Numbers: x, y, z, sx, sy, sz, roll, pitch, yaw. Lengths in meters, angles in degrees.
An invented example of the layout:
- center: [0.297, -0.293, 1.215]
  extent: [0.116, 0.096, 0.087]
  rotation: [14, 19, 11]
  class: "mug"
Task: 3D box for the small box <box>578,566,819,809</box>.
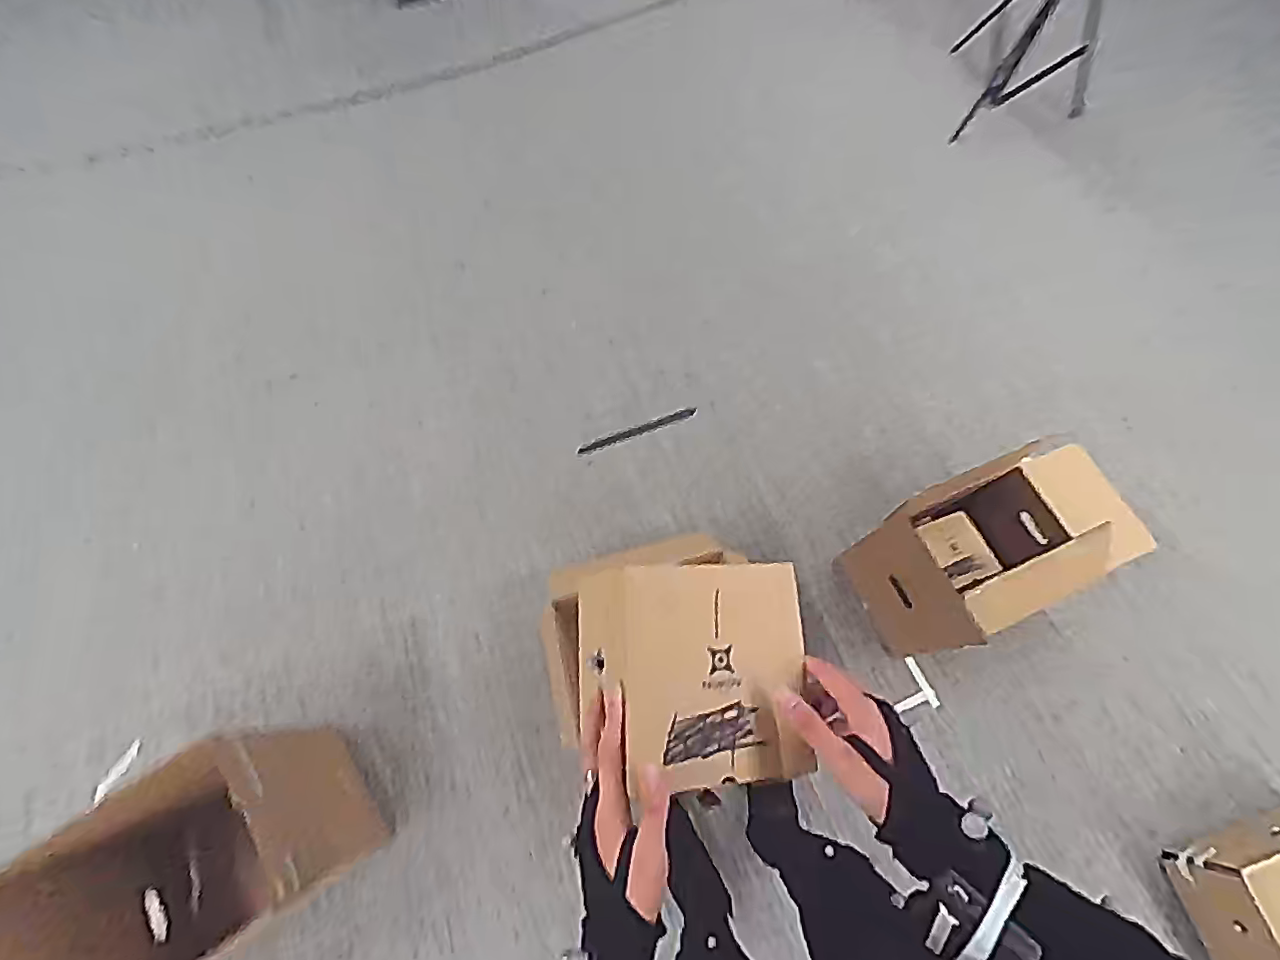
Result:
- center: [0.040, 0.176, 0.505]
  extent: [0.168, 0.176, 0.179]
  rotation: [2, 74, -19]
  class: "small box"
